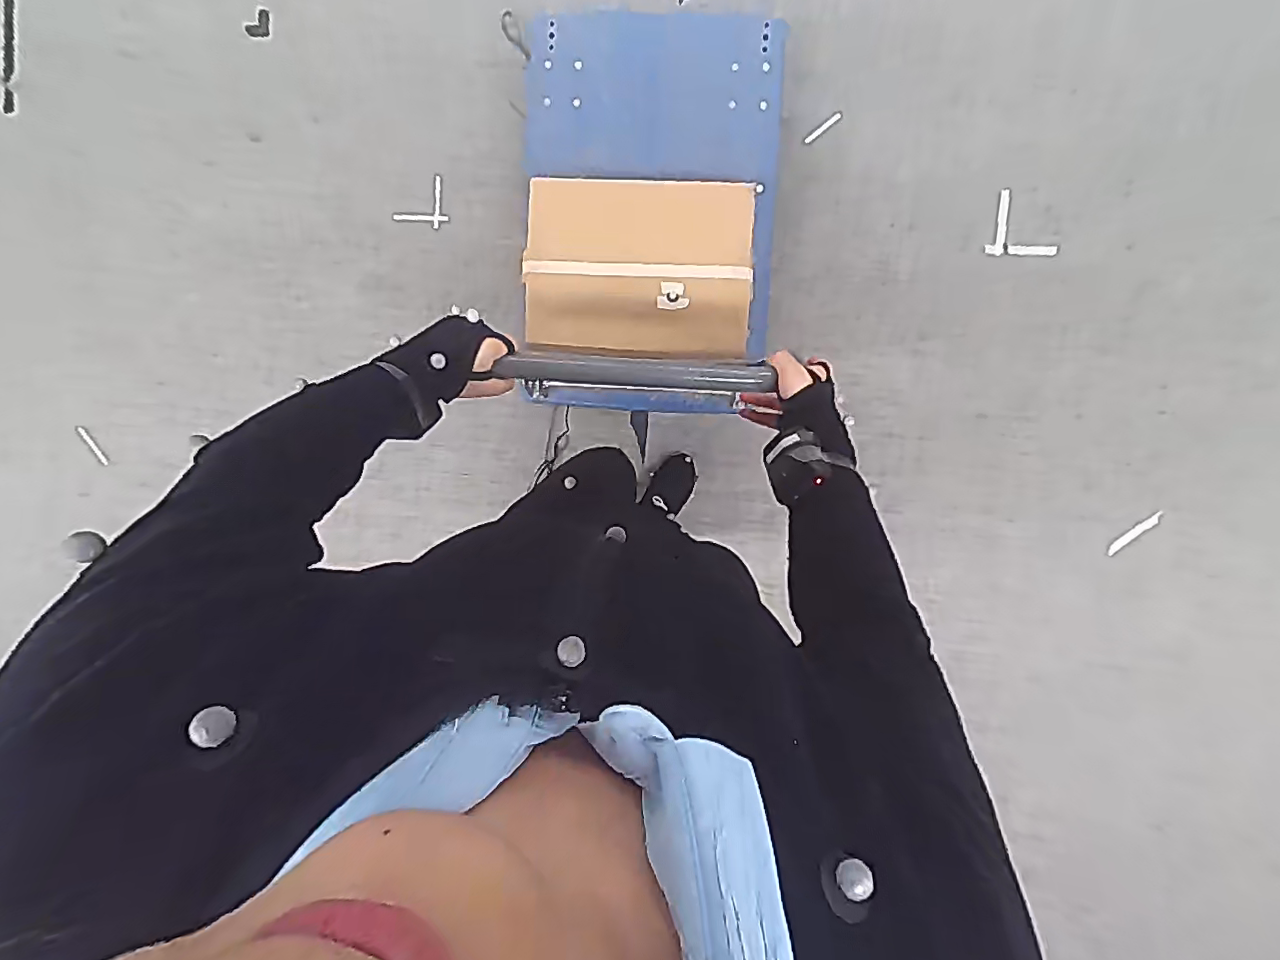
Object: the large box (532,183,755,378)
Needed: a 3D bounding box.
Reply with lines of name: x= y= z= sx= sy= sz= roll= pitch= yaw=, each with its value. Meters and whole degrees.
large box: x=0.007 y=-0.388 z=1.128 sx=0.408 sy=0.320 sz=0.320 roll=3 pitch=96 yaw=3
